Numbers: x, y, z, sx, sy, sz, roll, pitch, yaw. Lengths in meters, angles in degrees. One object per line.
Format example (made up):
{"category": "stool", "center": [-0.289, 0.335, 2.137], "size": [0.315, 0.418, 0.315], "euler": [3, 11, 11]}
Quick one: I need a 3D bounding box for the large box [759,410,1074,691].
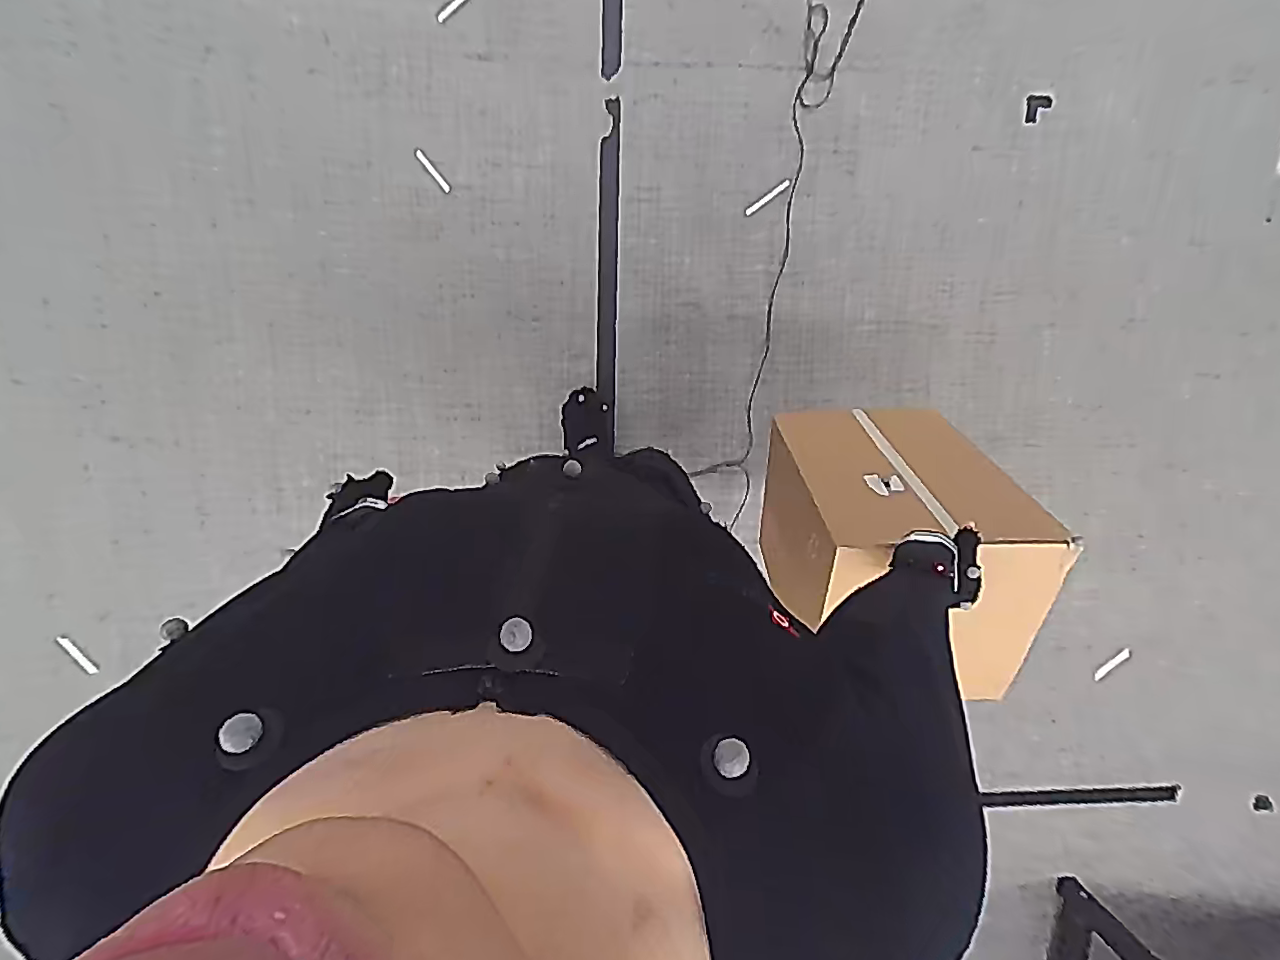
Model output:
{"category": "large box", "center": [0.414, 0.104, 0.949], "size": [0.320, 0.408, 0.320], "euler": [-2, 123, 0]}
